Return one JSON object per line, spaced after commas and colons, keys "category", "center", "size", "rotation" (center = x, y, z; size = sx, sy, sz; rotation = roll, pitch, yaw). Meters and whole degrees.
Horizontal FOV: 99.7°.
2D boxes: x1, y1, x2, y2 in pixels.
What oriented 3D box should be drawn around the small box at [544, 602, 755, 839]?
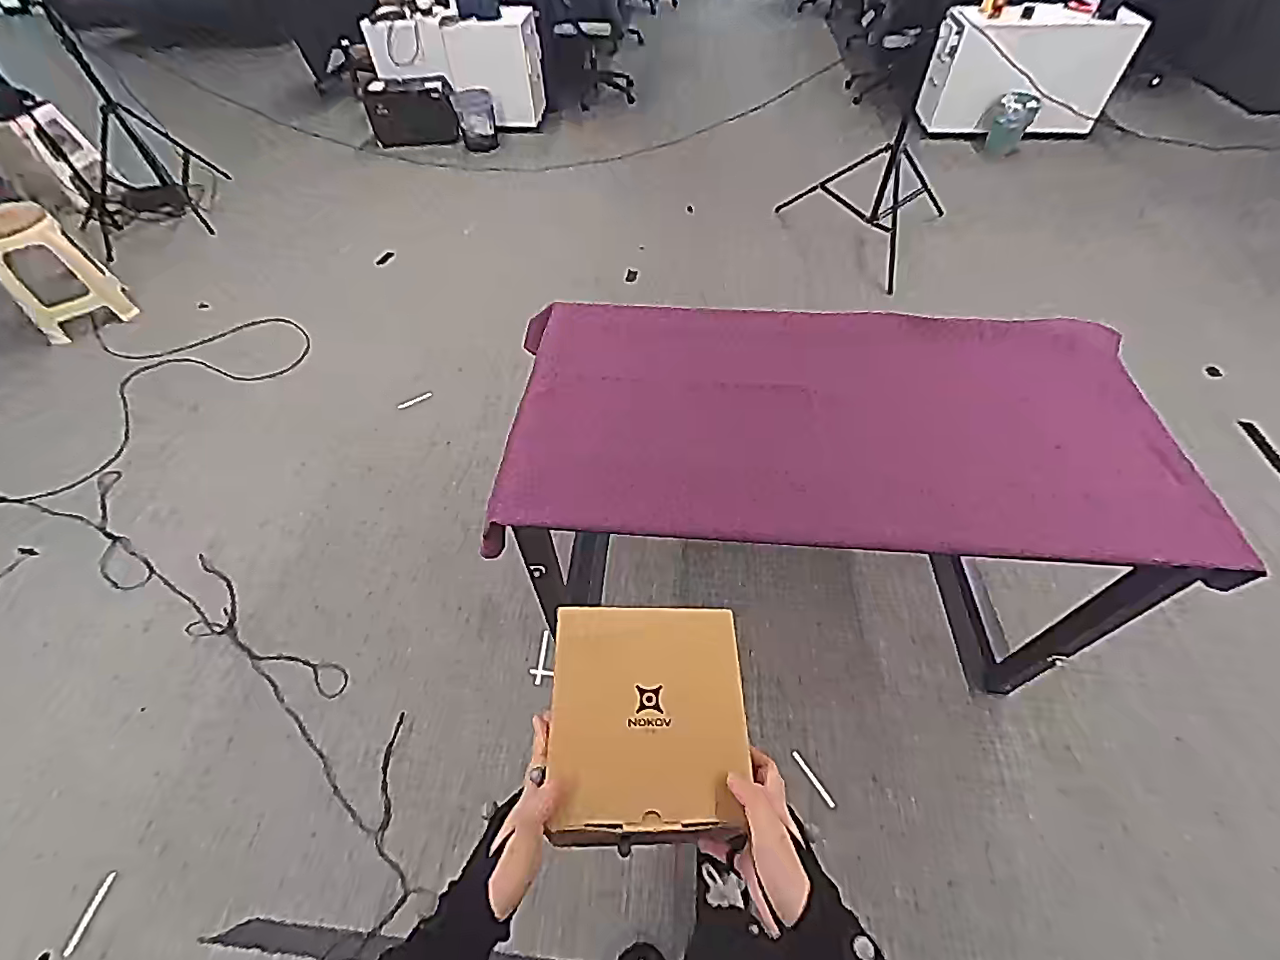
{"category": "small box", "center": [-0.001, 0.235, 0.523], "size": [0.168, 0.176, 0.179], "rotation": [2, 53, -5]}
